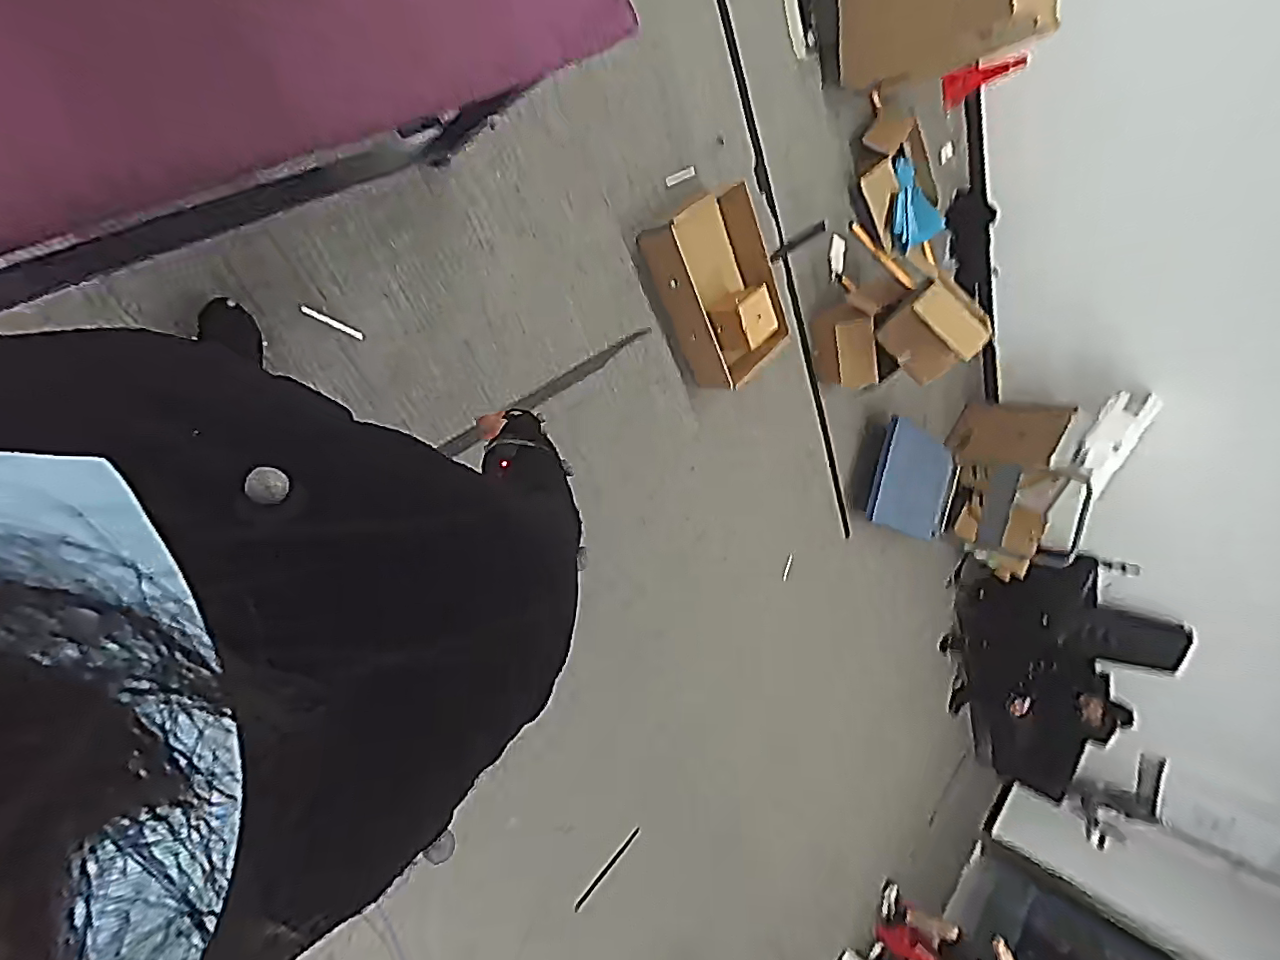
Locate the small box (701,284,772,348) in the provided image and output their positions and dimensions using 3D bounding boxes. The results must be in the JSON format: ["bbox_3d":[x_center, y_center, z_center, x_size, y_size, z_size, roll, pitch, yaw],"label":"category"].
[{"bbox_3d":[0.359,-0.609,2.014,0.179,0.176,0.168,-43,123,-25],"label":"small box"}]
